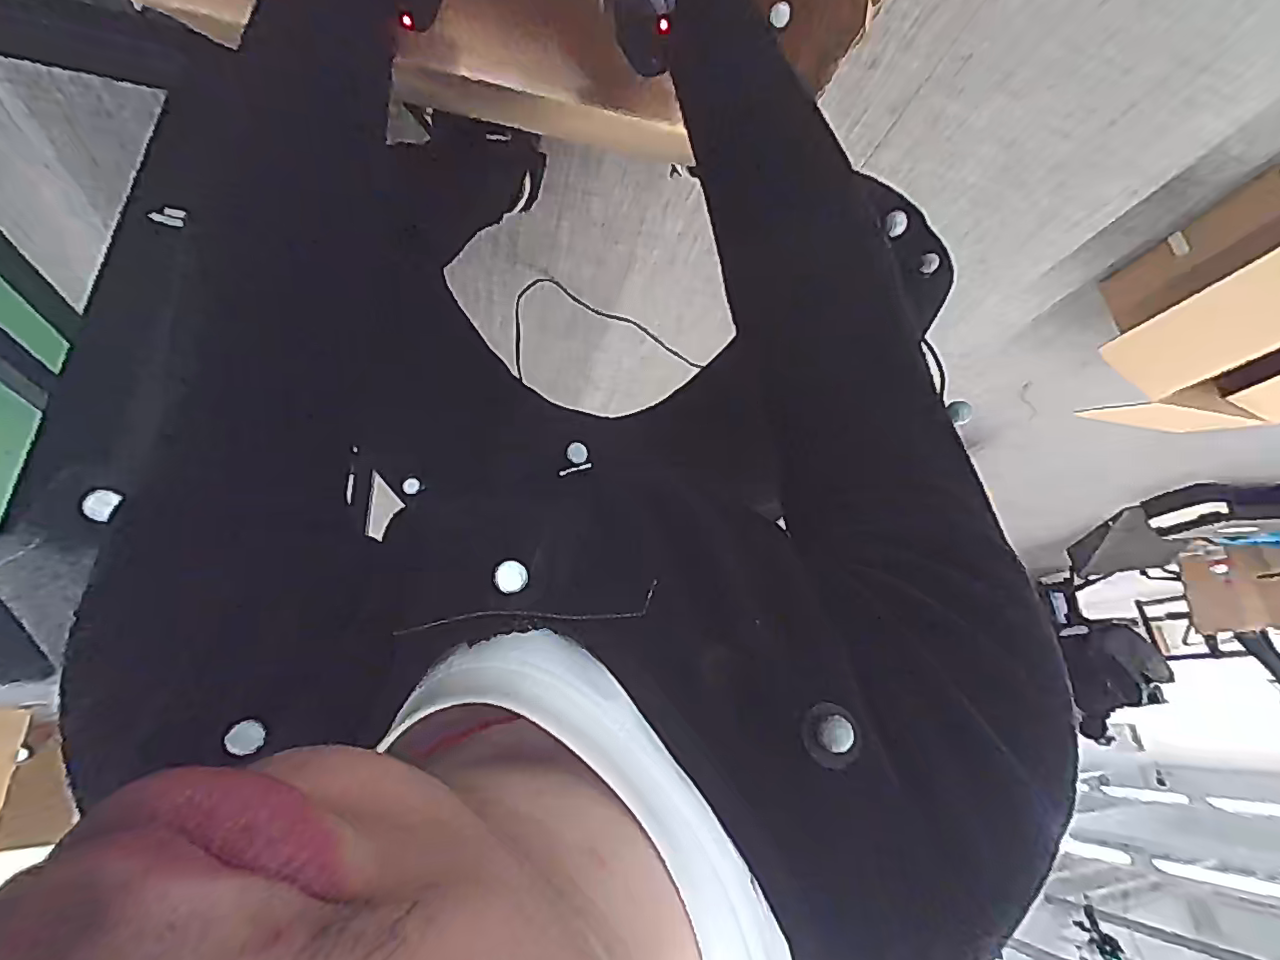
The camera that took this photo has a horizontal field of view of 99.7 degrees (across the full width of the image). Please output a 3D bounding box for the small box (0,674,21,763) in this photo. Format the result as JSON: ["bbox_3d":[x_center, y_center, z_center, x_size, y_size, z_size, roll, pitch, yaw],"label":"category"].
[{"bbox_3d":[-0.740,0.265,0.483,0.168,0.176,0.179,0,158,-13],"label":"small box"}]

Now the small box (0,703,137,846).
[{"bbox_3d":[-0.878,0.420,0.784,0.168,0.176,0.179,4,157,-25],"label":"small box"}]
